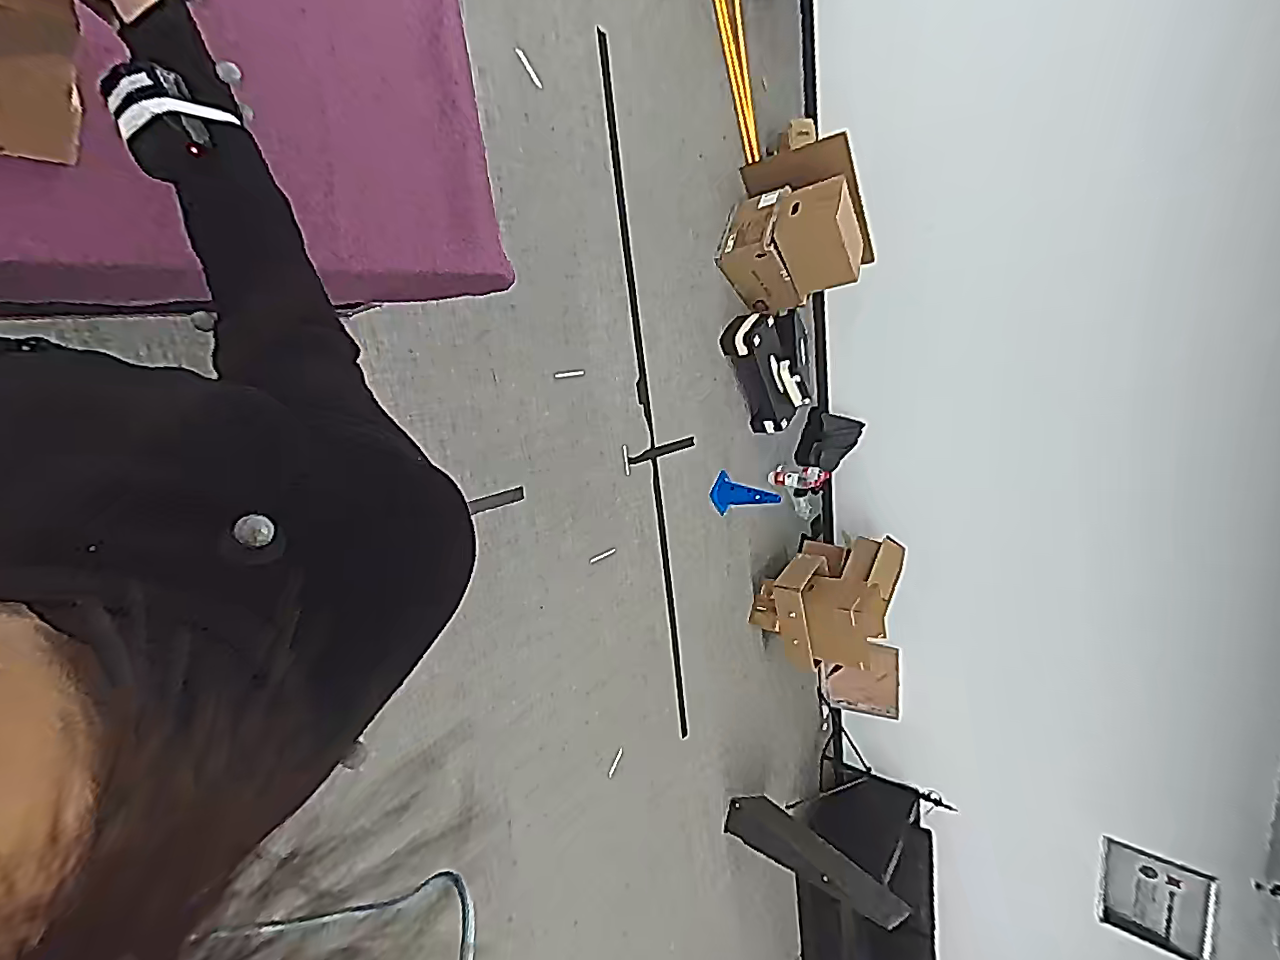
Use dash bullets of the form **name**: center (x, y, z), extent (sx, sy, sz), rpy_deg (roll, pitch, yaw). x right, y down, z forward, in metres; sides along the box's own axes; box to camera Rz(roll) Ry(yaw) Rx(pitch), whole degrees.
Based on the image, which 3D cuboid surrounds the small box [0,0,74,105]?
- **small box**: center (-0.555, -0.410, 0.391), extent (0.179, 0.176, 0.168), rpy_deg (-18, 107, -47)
